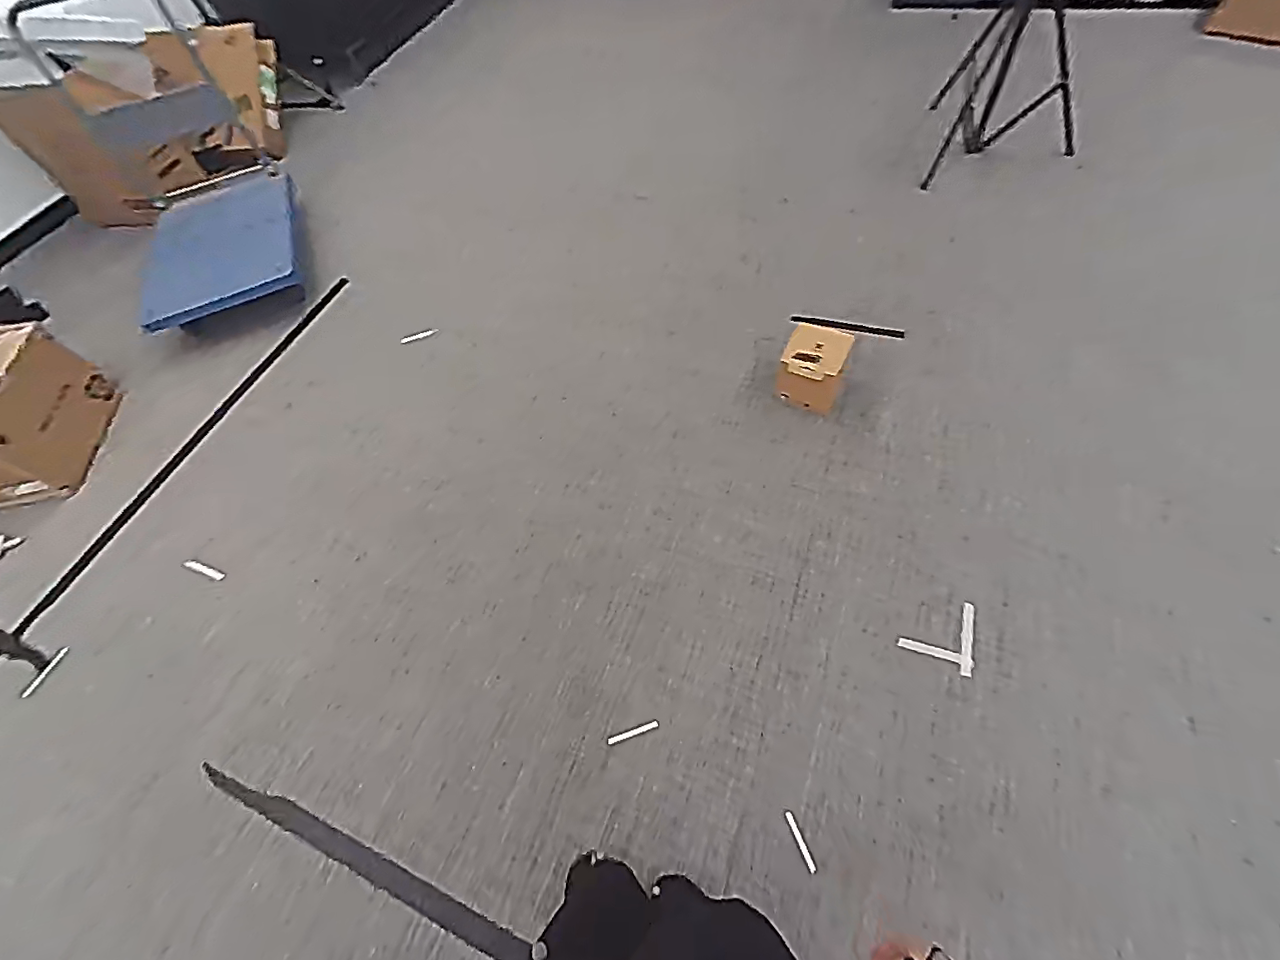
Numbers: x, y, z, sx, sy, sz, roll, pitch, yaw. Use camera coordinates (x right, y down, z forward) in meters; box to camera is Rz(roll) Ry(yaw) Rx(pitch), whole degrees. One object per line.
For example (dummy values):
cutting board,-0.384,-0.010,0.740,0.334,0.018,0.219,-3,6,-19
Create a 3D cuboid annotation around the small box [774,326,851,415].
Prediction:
small box,0.507,-0.321,1.609,0.168,0.176,0.179,22,63,20
